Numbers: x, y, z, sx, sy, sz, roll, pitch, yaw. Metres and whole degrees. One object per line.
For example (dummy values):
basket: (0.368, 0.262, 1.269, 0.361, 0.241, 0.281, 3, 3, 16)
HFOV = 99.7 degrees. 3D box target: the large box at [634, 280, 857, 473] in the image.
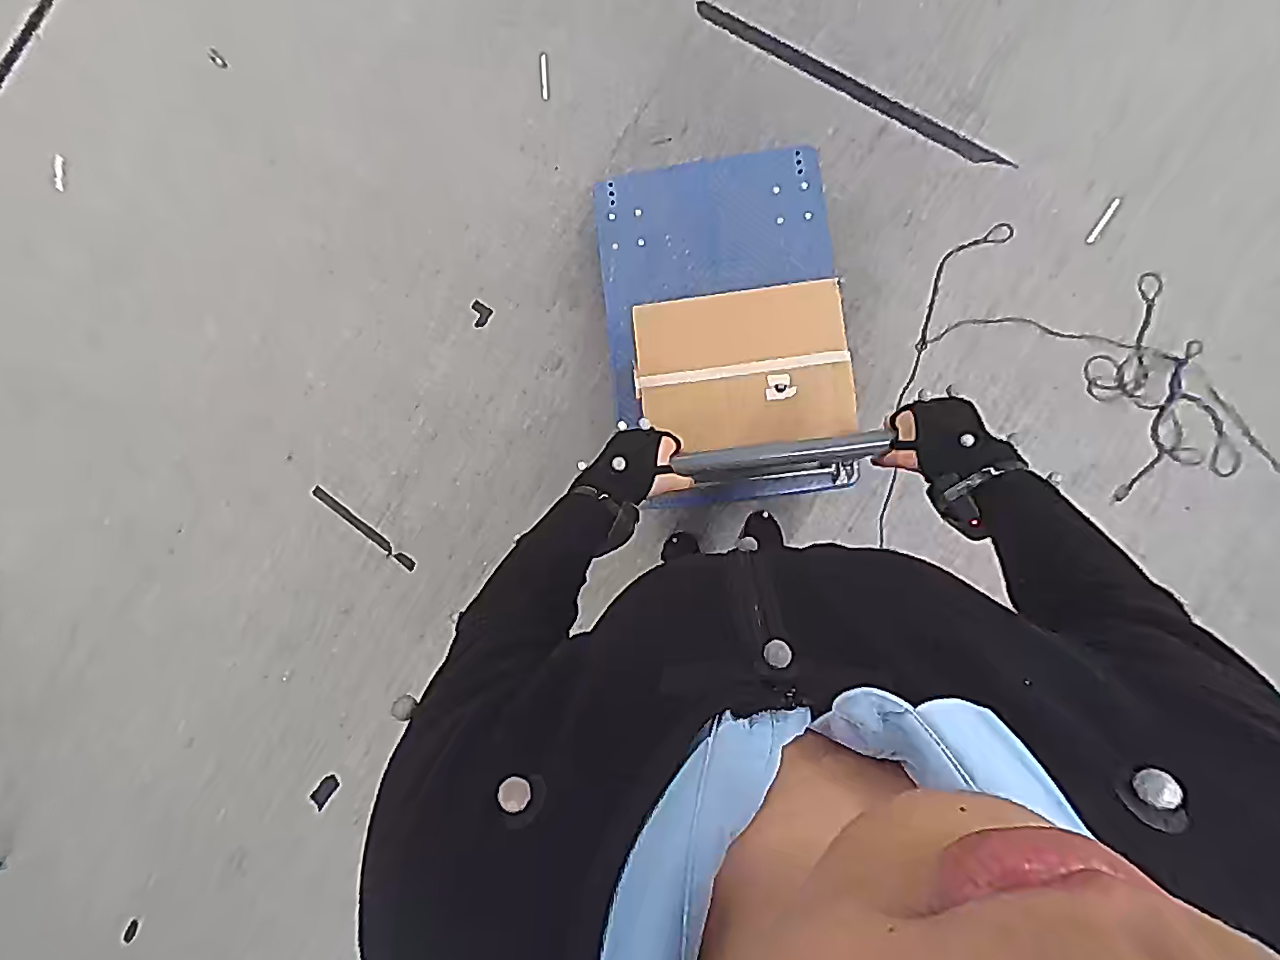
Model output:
large box: (0.213, -0.203, 1.202, 0.408, 0.320, 0.320, -7, 87, 4)
